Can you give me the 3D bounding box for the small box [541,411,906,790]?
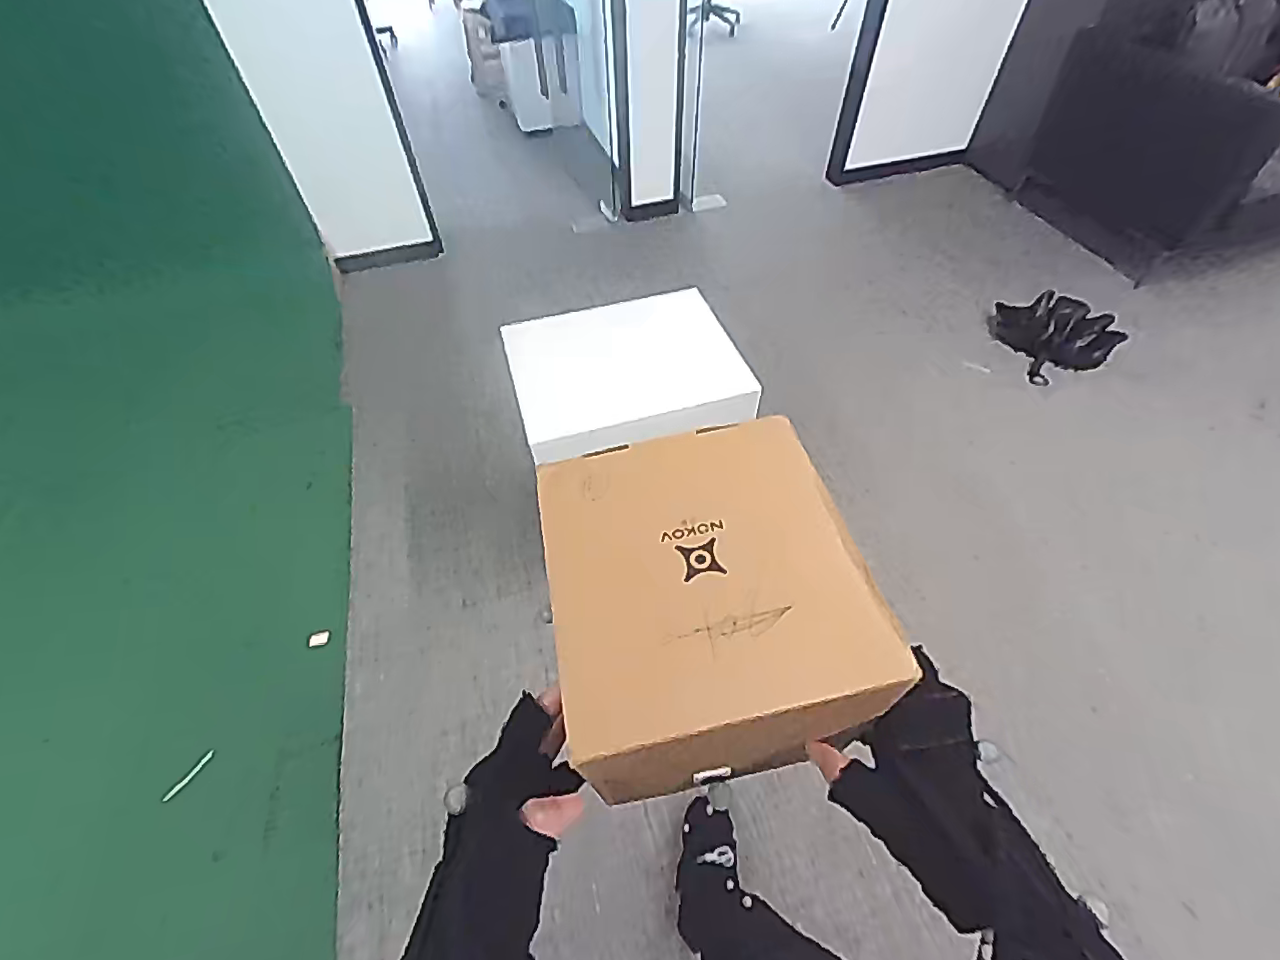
[{"bbox_3d":[0.037,0.085,0.364,0.168,0.176,0.179,-13,53,-3],"label":"small box"}]
